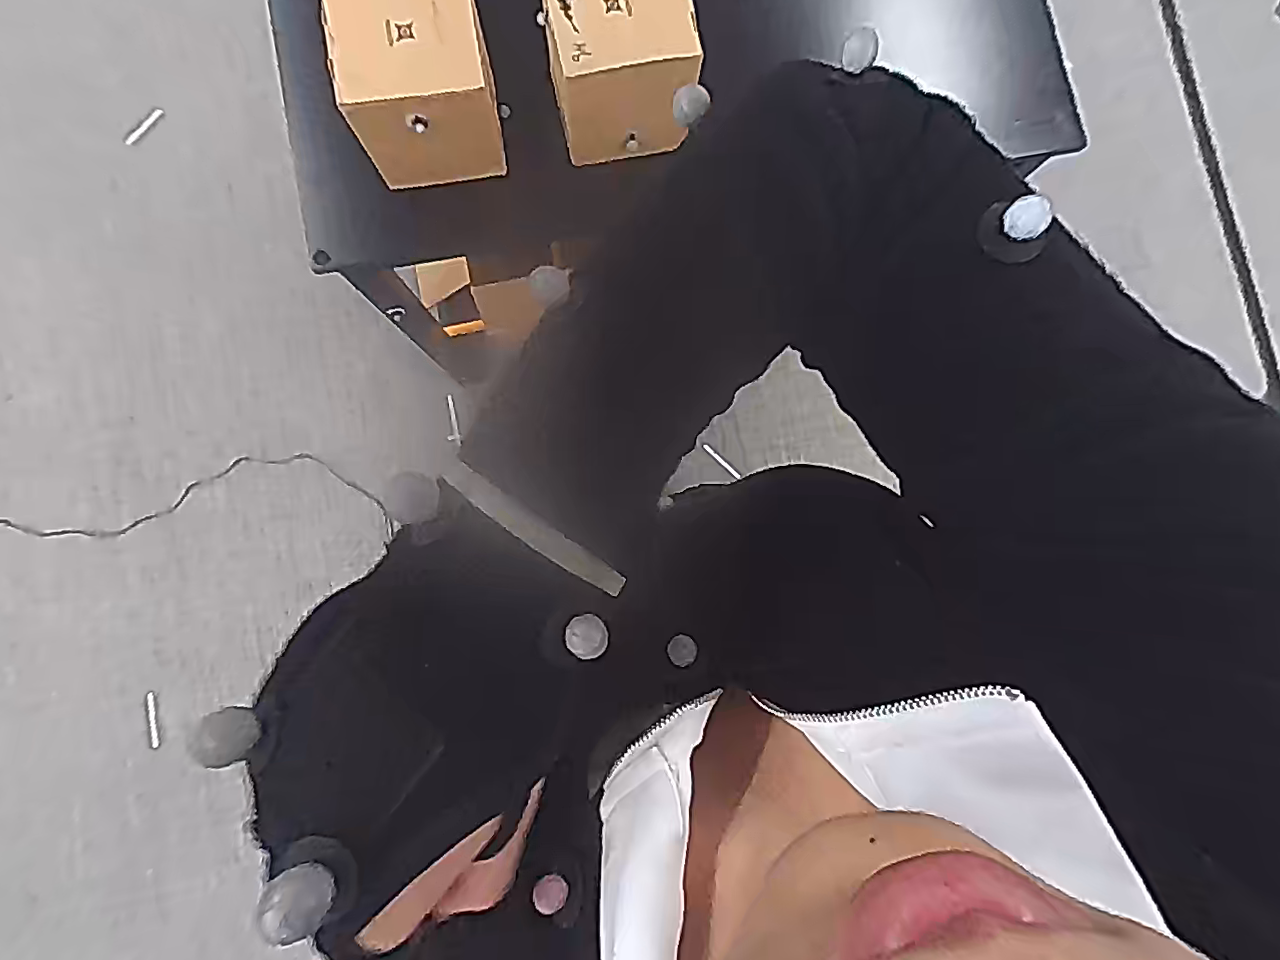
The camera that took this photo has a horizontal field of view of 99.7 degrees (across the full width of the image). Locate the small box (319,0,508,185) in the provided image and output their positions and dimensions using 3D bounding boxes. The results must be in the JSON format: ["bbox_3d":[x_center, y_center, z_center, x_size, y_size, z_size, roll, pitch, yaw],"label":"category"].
[{"bbox_3d":[-0.288,-0.520,0.716,0.179,0.176,0.168,-11,87,-5],"label":"small box"}]

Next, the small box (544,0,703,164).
[{"bbox_3d":[-0.029,-0.568,0.736,0.179,0.176,0.168,-13,86,-5],"label":"small box"}]
